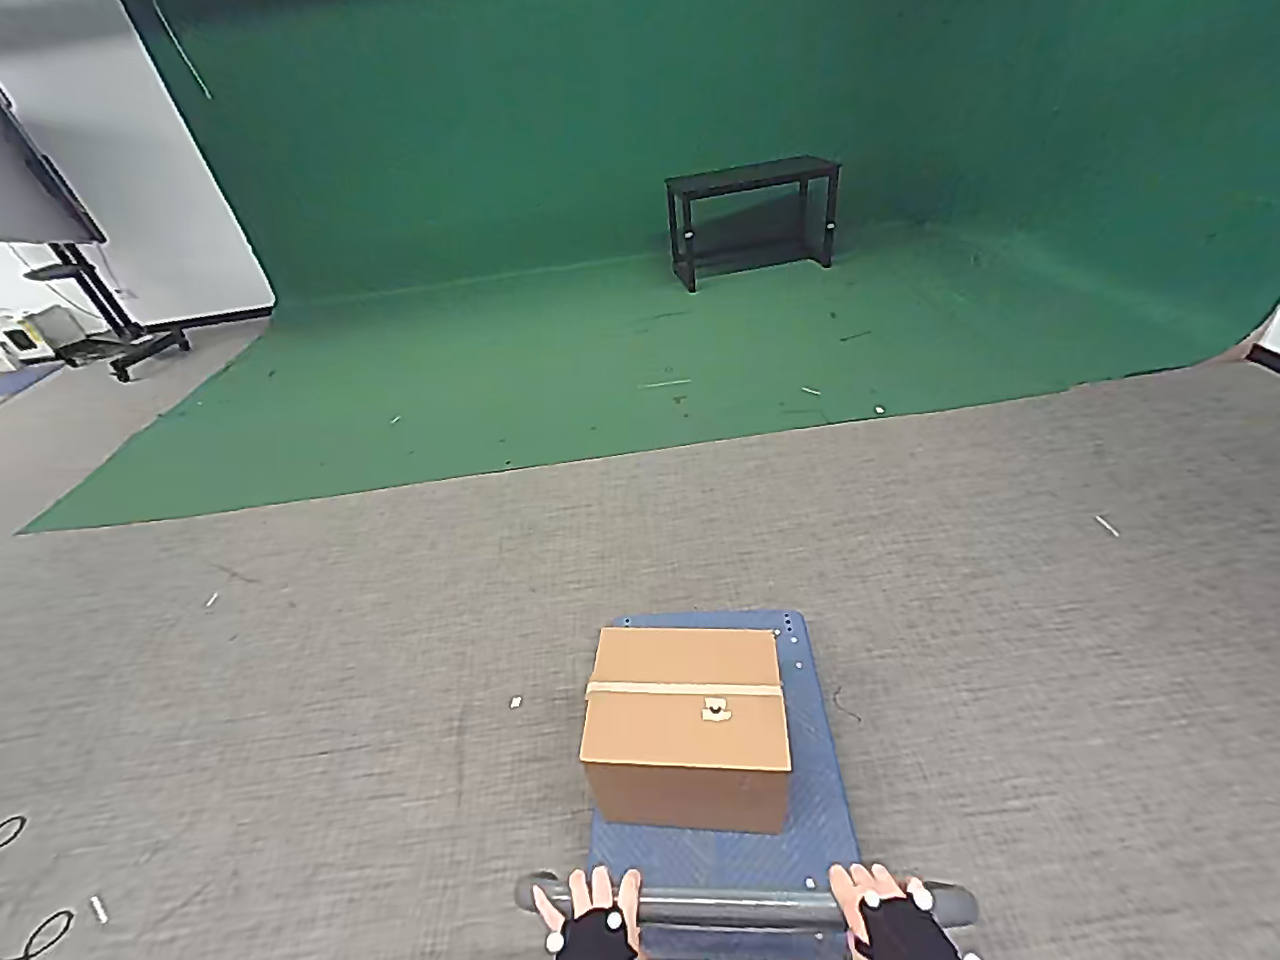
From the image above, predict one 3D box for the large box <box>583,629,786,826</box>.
[{"bbox_3d":[0.104,0.568,1.252,0.408,0.320,0.320,-1,39,7],"label":"large box"}]
